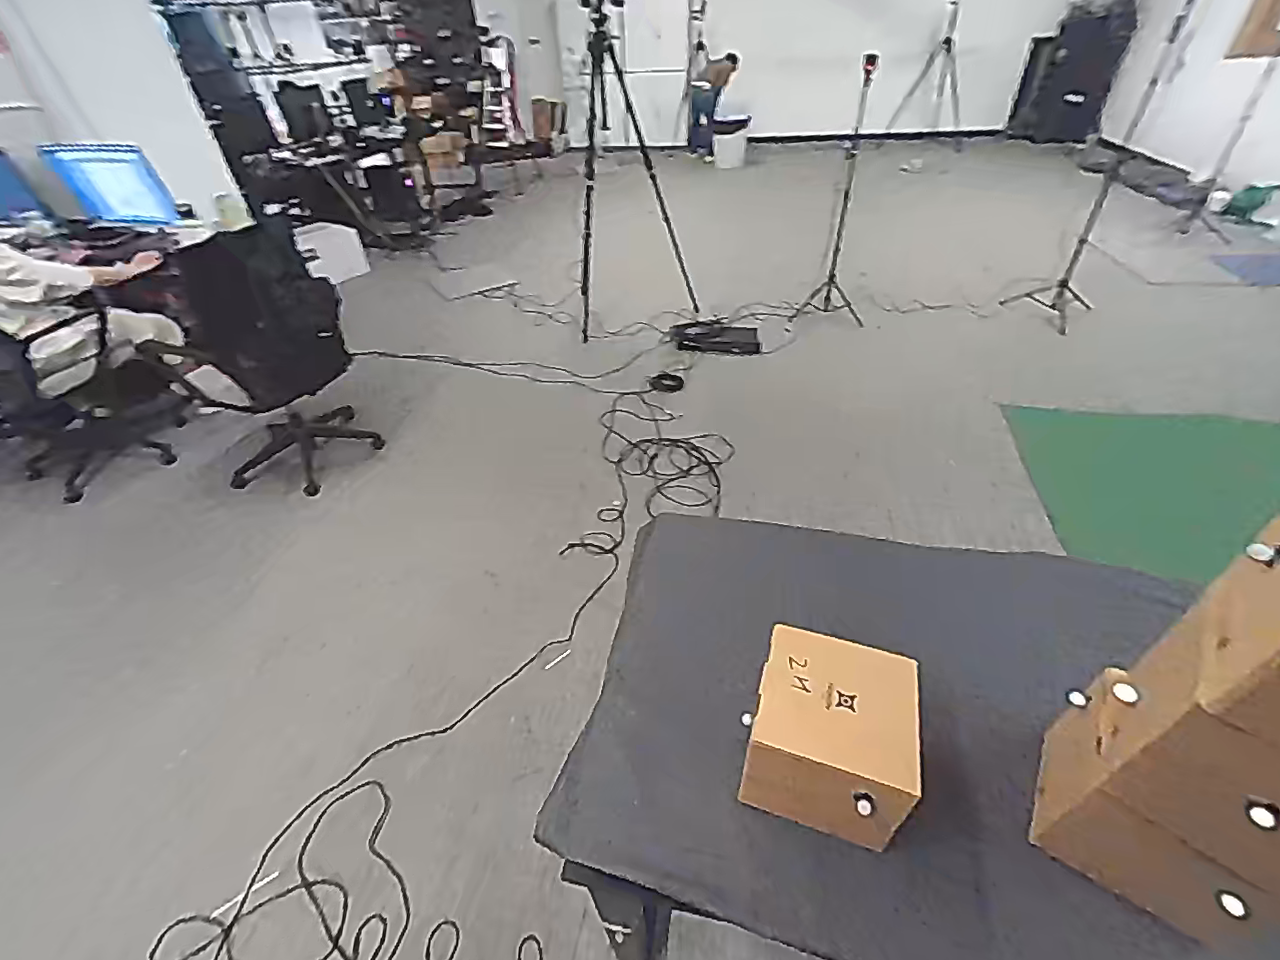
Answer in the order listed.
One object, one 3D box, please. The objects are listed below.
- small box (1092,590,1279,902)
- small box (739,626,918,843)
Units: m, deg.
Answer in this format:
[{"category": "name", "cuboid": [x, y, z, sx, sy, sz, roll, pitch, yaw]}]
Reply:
[{"category": "small box", "cuboid": [0.563, 0.242, 0.485, 0.179, 0.176, 0.168, 30, 49, 34]}, {"category": "small box", "cuboid": [0.230, 0.318, 0.676, 0.179, 0.176, 0.168, 11, 41, 18]}]
